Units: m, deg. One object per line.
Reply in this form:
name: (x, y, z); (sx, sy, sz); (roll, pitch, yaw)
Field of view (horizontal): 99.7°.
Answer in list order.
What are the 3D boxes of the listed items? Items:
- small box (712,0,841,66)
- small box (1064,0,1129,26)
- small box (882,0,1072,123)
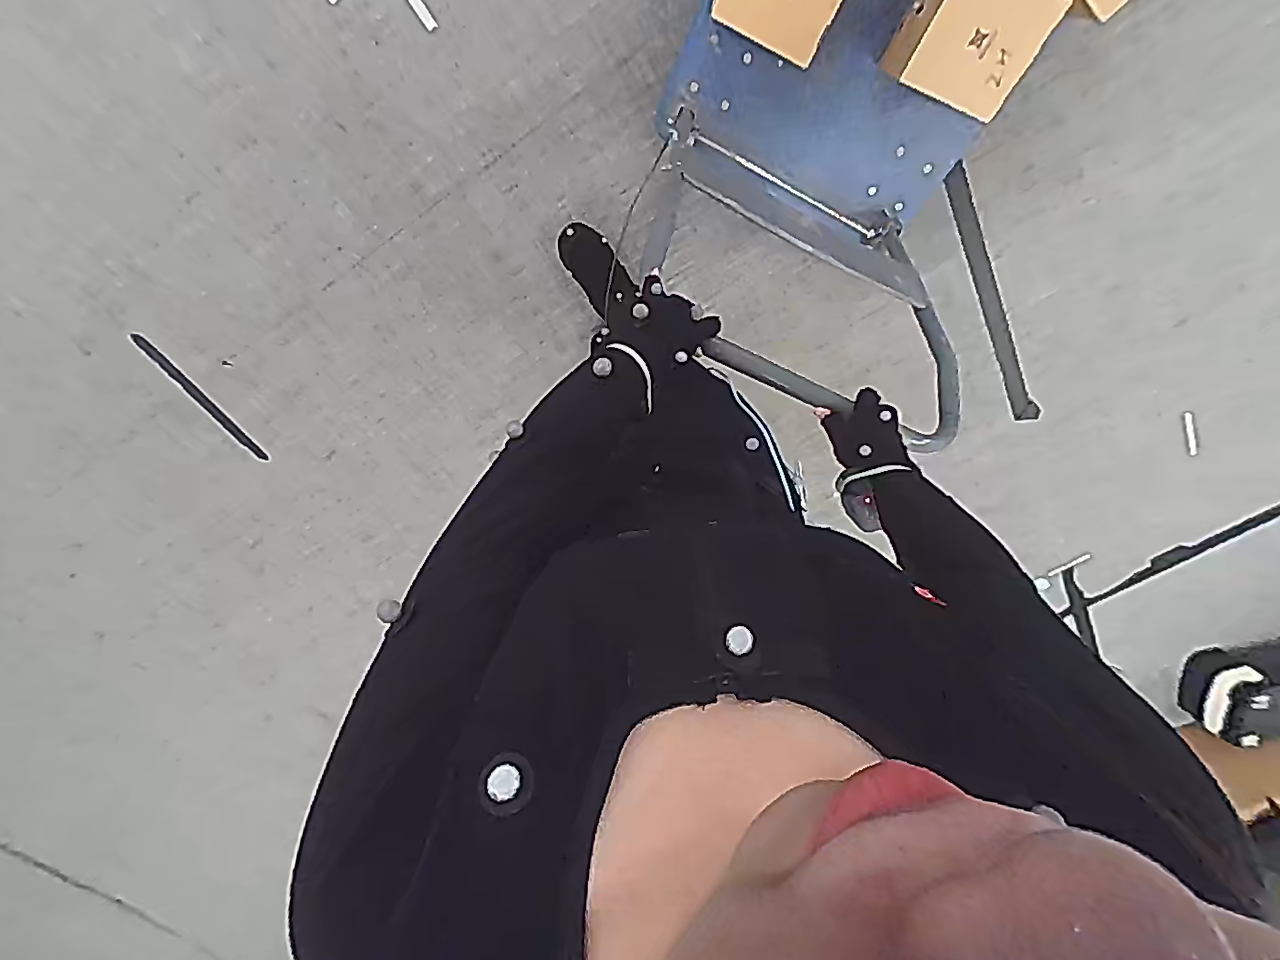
small box: (0.225, -0.795, 0.852); (0.179, 0.176, 0.168); (19, 134, -12)
small box: (0.674, -0.809, 0.772); (0.168, 0.176, 0.179); (31, 131, -20)
small box: (0.528, -0.720, 0.880); (0.179, 0.176, 0.168); (18, 134, -9)
